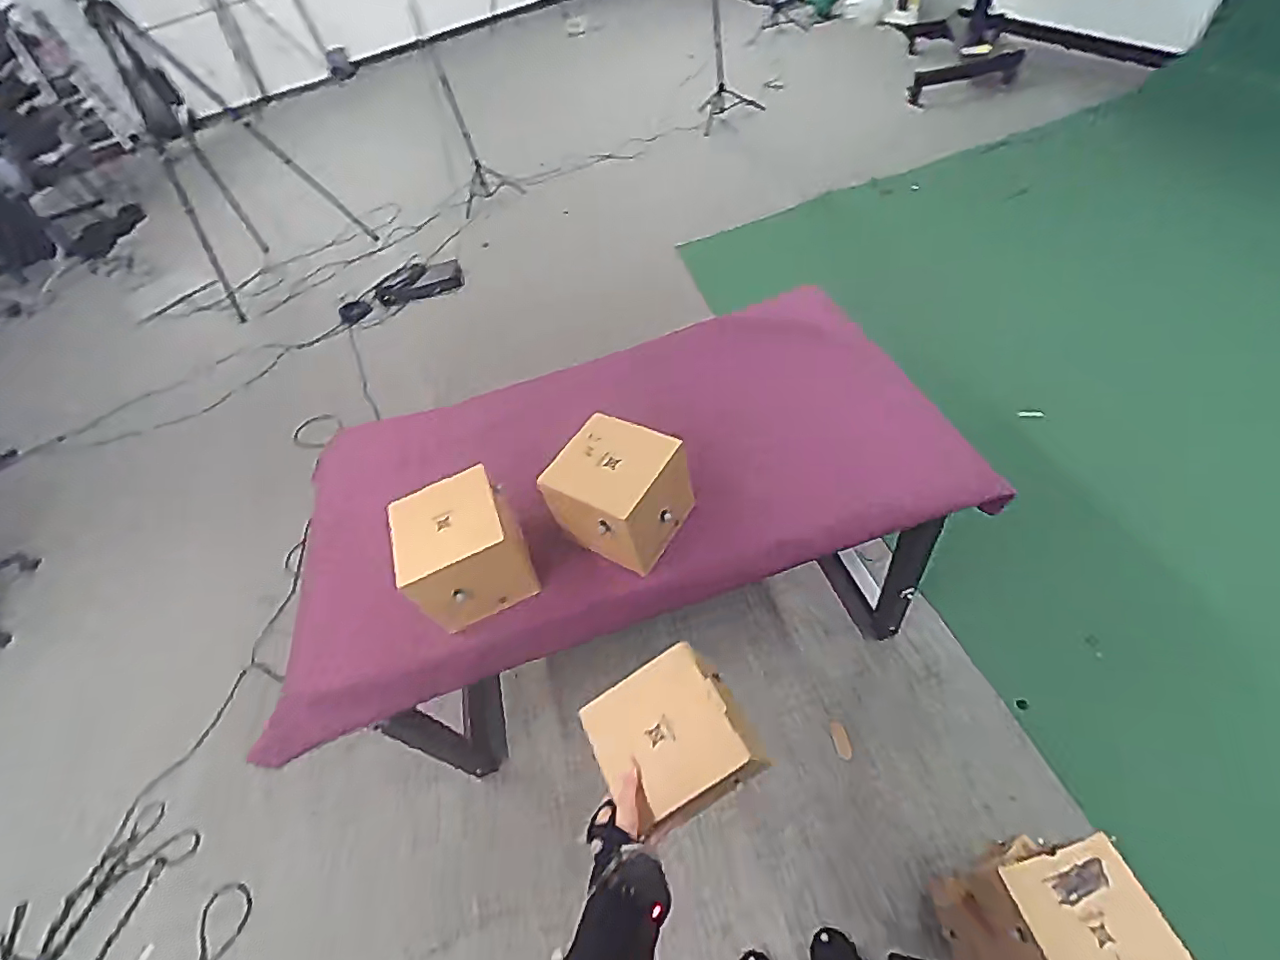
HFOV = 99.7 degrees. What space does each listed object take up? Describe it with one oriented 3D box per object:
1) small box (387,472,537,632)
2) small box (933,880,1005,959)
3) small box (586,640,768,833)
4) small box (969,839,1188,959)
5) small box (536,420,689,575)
[{"bbox_3d":[-0.286,0.125,0.886,0.168,0.176,0.179,-25,48,-7],"label":"small box"},{"bbox_3d":[0.674,0.851,1.012,0.179,0.176,0.168,-12,50,5],"label":"small box"},{"bbox_3d":[0.059,0.350,0.742,0.179,0.176,0.168,-34,54,3],"label":"small box"},{"bbox_3d":[0.611,0.641,0.766,0.168,0.176,0.179,-17,51,-1],"label":"small box"},{"bbox_3d":[-0.034,0.033,0.897,0.179,0.176,0.168,21,58,28],"label":"small box"}]
